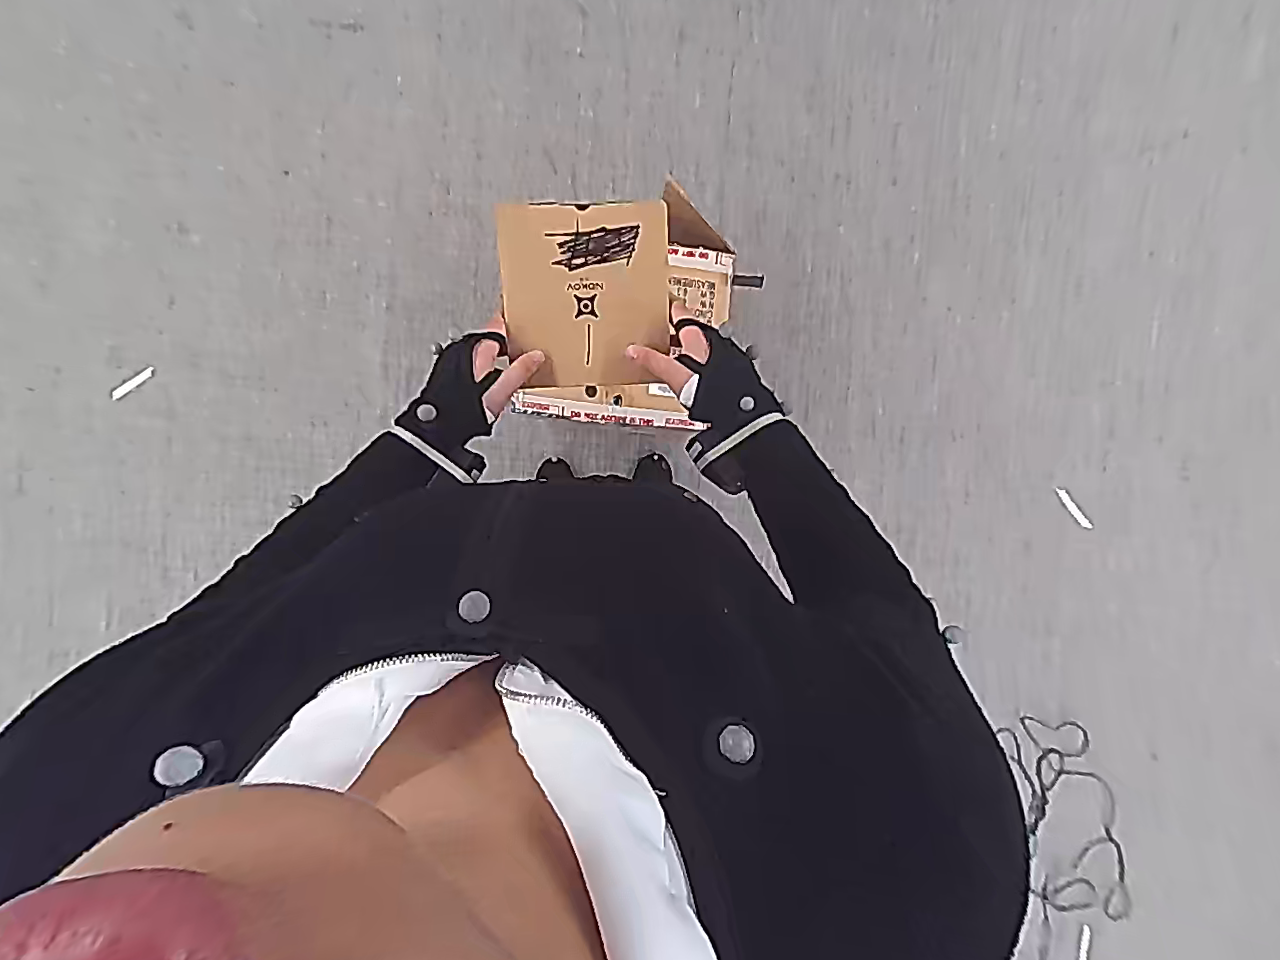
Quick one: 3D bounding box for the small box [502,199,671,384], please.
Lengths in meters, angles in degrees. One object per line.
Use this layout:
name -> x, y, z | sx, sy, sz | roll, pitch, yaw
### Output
small box -> -0.055, -0.201, 0.617 | 0.168, 0.176, 0.179 | -2, 102, -2
